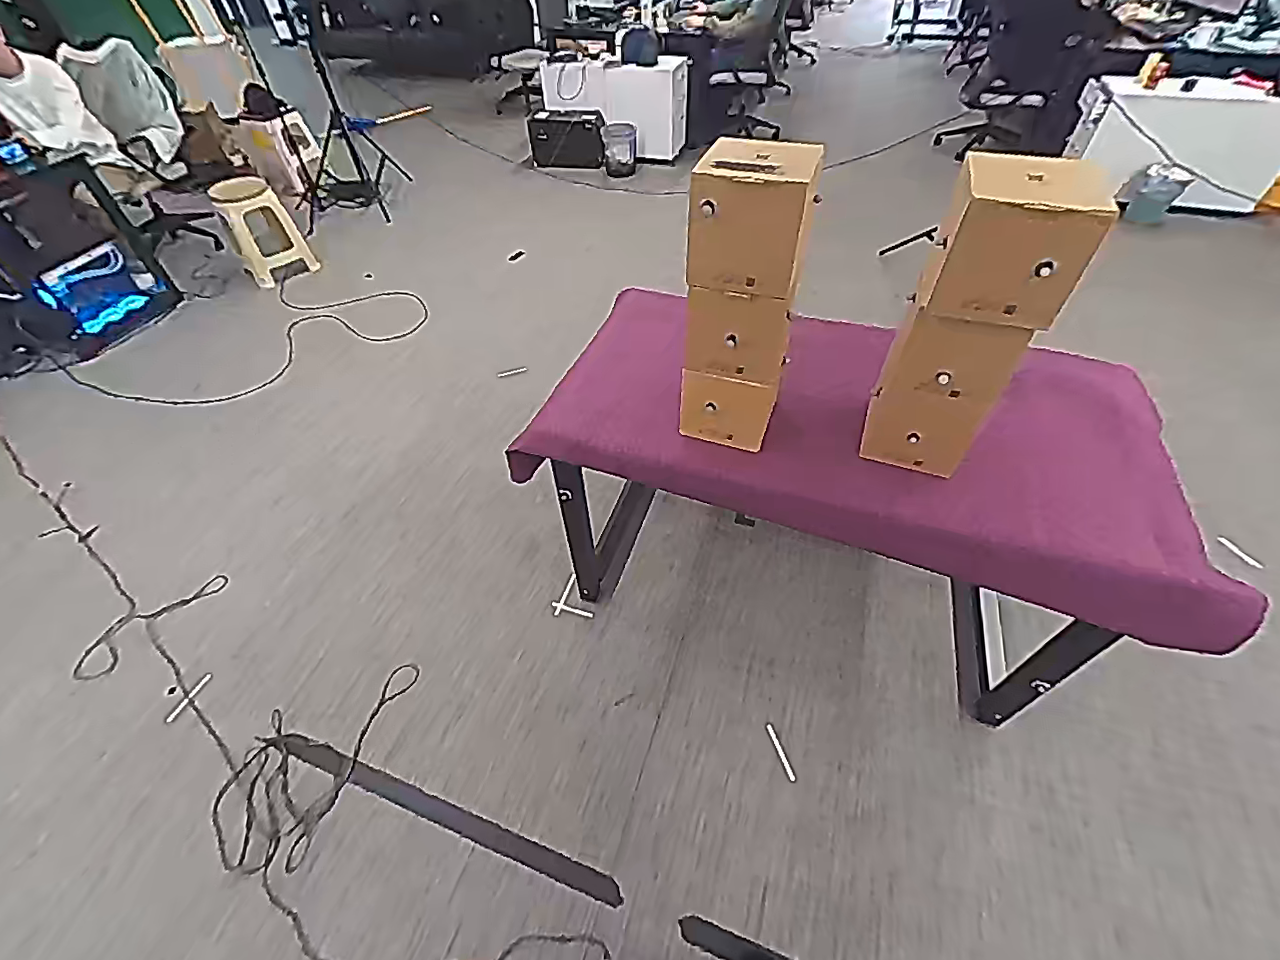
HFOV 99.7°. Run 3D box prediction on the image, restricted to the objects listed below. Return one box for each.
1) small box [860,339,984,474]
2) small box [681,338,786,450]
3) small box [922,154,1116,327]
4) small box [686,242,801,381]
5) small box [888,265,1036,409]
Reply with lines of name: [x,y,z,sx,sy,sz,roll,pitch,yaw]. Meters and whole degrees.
small box: [0.533,-0.138,1.032,0.168,0.176,0.179,16,50,16]
small box: [0.185,-0.185,1.088,0.168,0.176,0.179,15,49,14]
small box: [0.522,-0.342,0.776,0.168,0.176,0.179,14,50,13]
small box: [0.181,-0.300,0.971,0.168,0.176,0.179,13,49,13]
small box: [0.532,-0.250,0.911,0.168,0.176,0.179,16,51,16]
